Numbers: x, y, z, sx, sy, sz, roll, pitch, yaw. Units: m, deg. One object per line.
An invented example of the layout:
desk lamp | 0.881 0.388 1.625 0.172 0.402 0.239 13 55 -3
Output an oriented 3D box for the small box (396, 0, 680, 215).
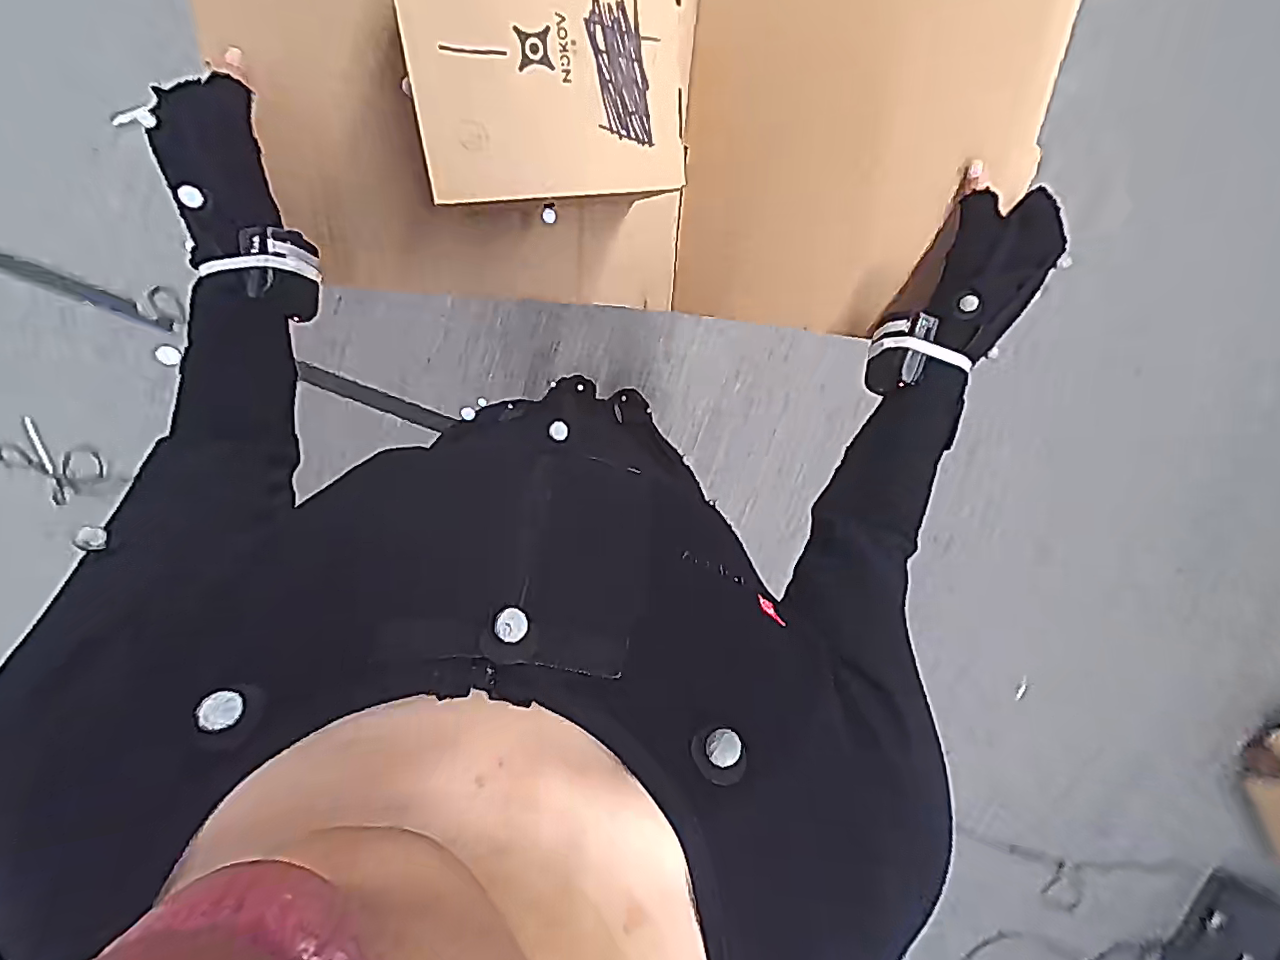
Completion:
small box | -0.078 -0.306 0.422 0.179 0.176 0.168 -10 115 -9
